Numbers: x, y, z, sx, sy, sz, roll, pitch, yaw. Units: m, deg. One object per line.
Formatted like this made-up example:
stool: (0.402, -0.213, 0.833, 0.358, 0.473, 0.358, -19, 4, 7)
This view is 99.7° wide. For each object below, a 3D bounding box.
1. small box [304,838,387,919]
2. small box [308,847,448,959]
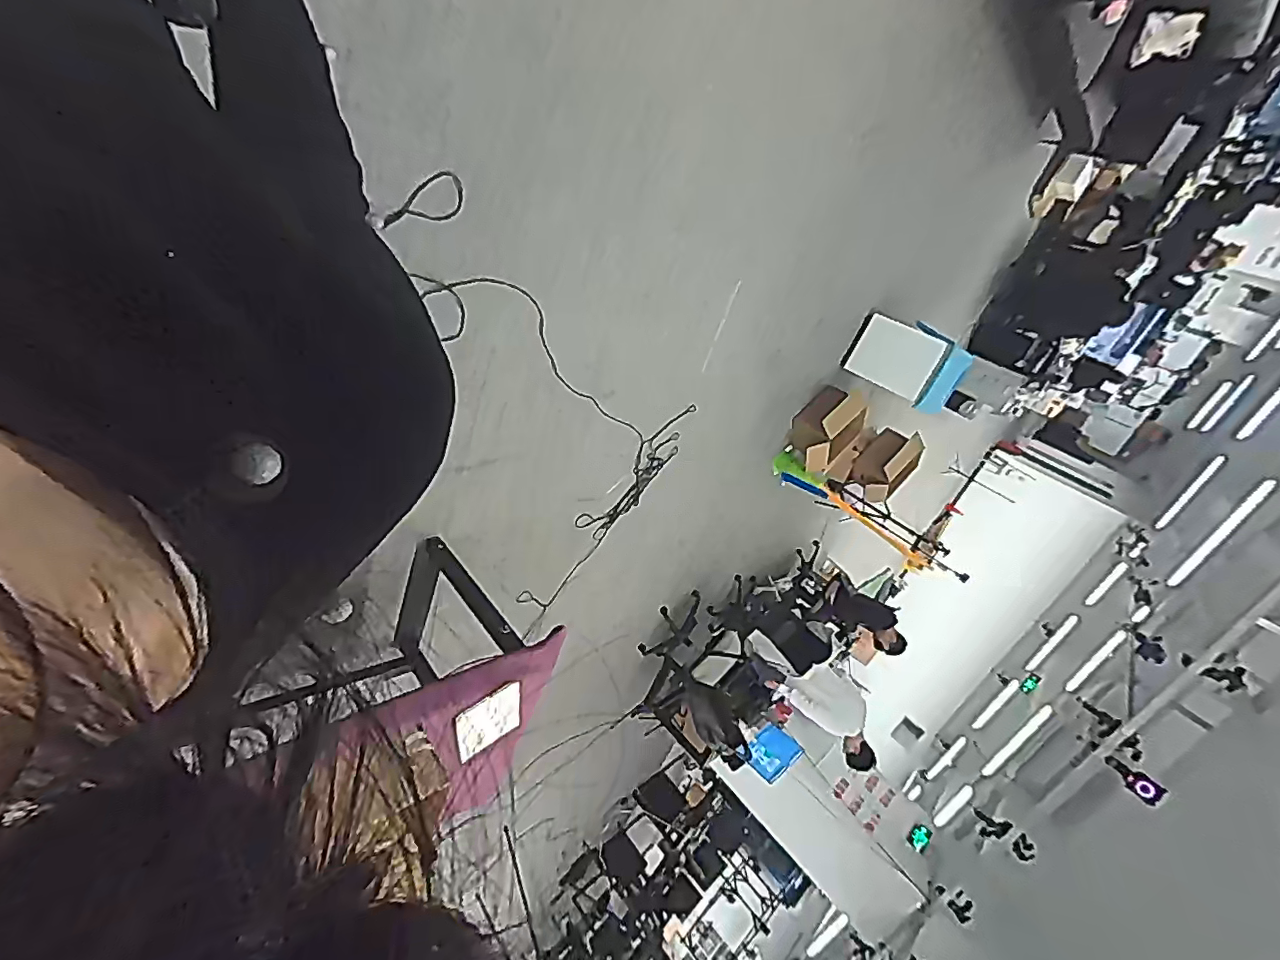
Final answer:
small box: (-0.714, 1.042, 1.349, 0.168, 0.176, 0.179, -4, 123, -49)
small box: (-0.539, 0.893, 1.105, 0.179, 0.176, 0.168, -53, 149, 6)
